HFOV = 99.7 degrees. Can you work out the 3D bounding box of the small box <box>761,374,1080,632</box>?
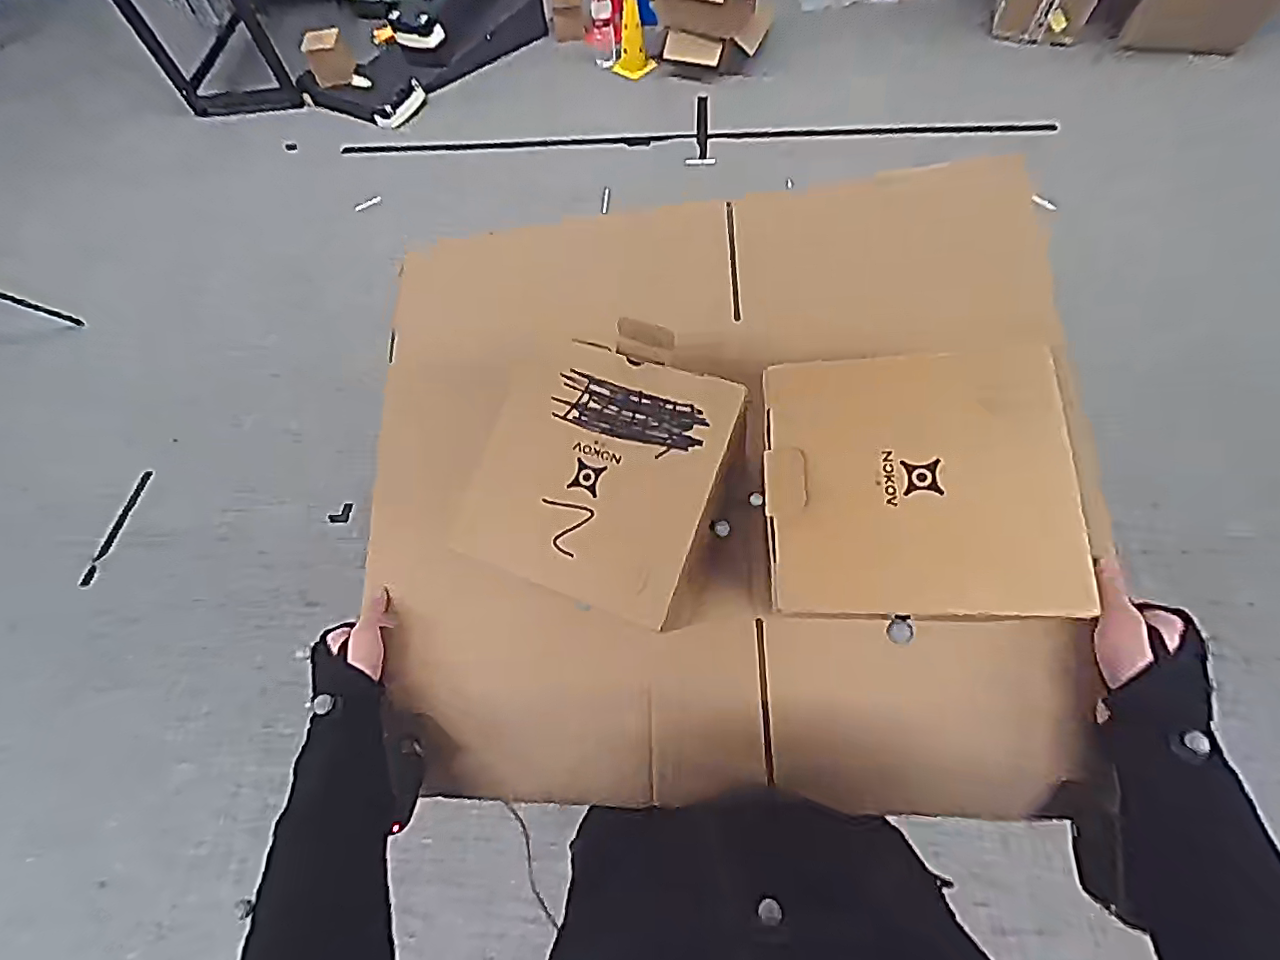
[{"bbox_3d":[0.189,0.030,0.426,0.179,0.176,0.168,-2,75,11],"label":"small box"}]
